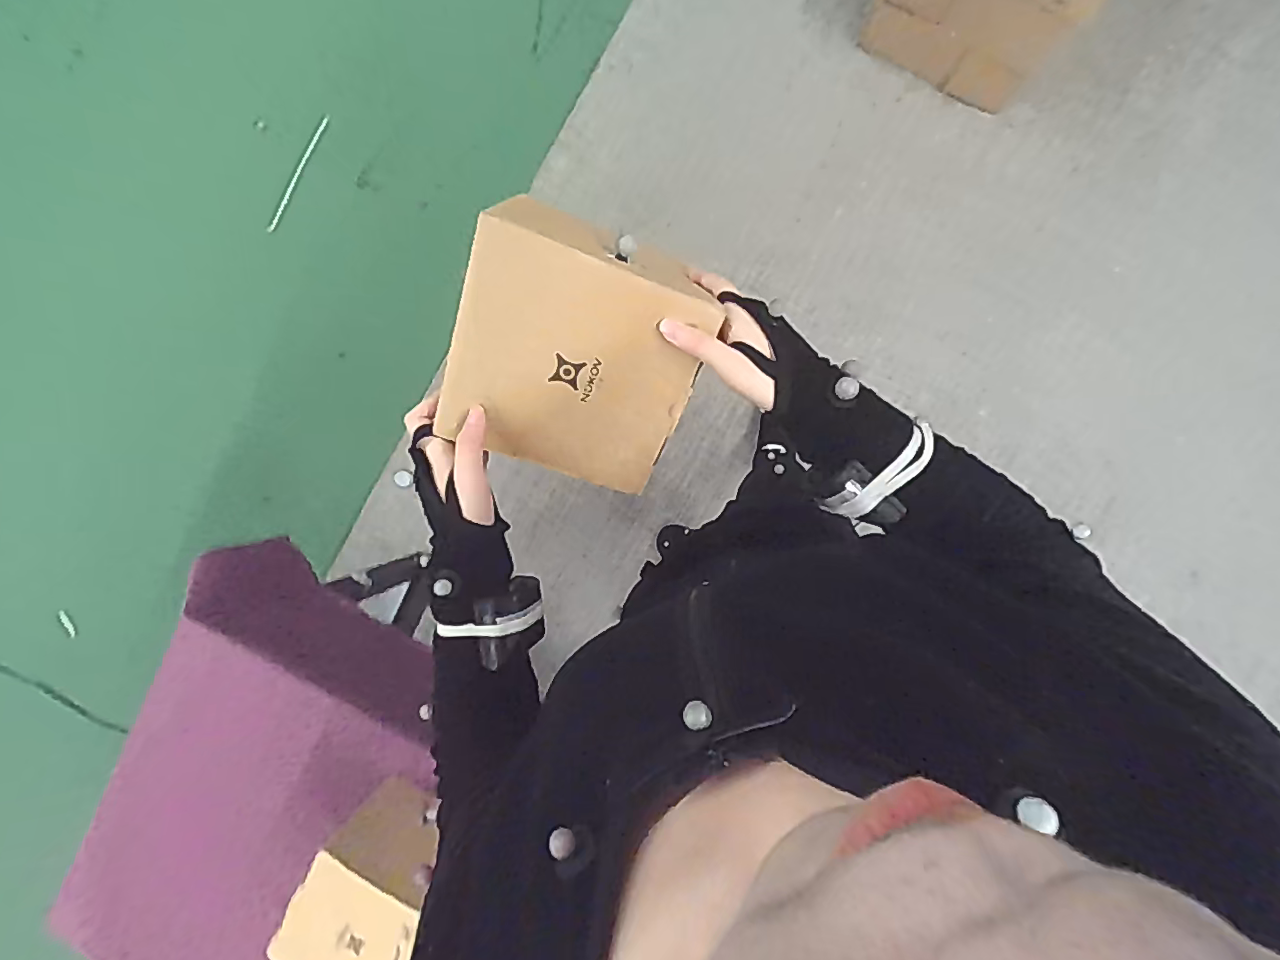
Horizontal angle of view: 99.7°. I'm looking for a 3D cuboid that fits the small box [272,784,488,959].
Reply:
[{"bbox_3d":[-0.346,0.565,0.750,0.179,0.176,0.168,29,95,4],"label":"small box"}]
